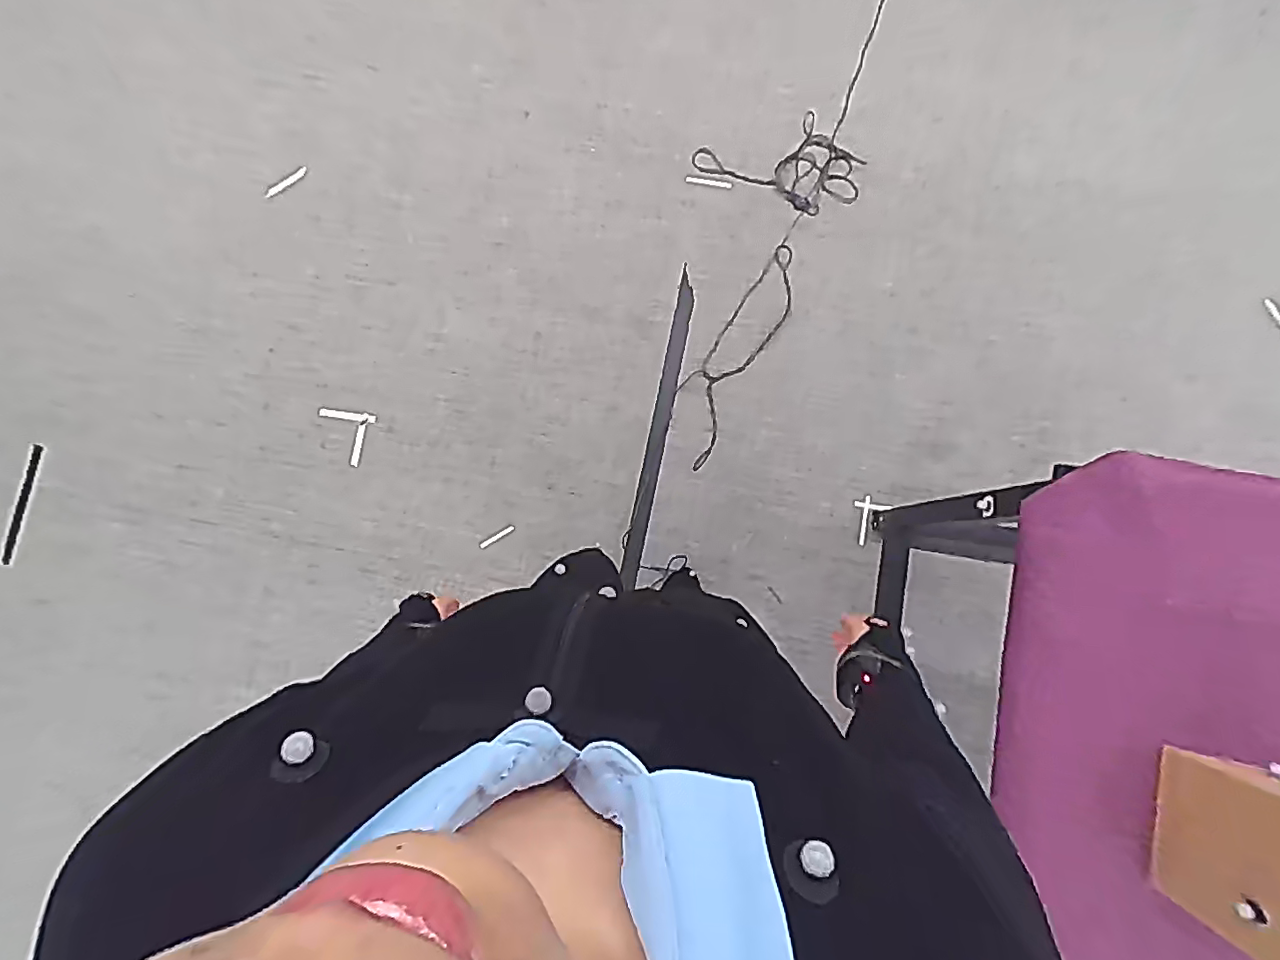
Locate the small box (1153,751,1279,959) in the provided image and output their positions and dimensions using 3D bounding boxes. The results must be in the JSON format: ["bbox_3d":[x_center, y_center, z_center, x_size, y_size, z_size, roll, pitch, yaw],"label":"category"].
[{"bbox_3d":[0.737,0.440,0.608,0.168,0.176,0.179,11,84,4],"label":"small box"}]
